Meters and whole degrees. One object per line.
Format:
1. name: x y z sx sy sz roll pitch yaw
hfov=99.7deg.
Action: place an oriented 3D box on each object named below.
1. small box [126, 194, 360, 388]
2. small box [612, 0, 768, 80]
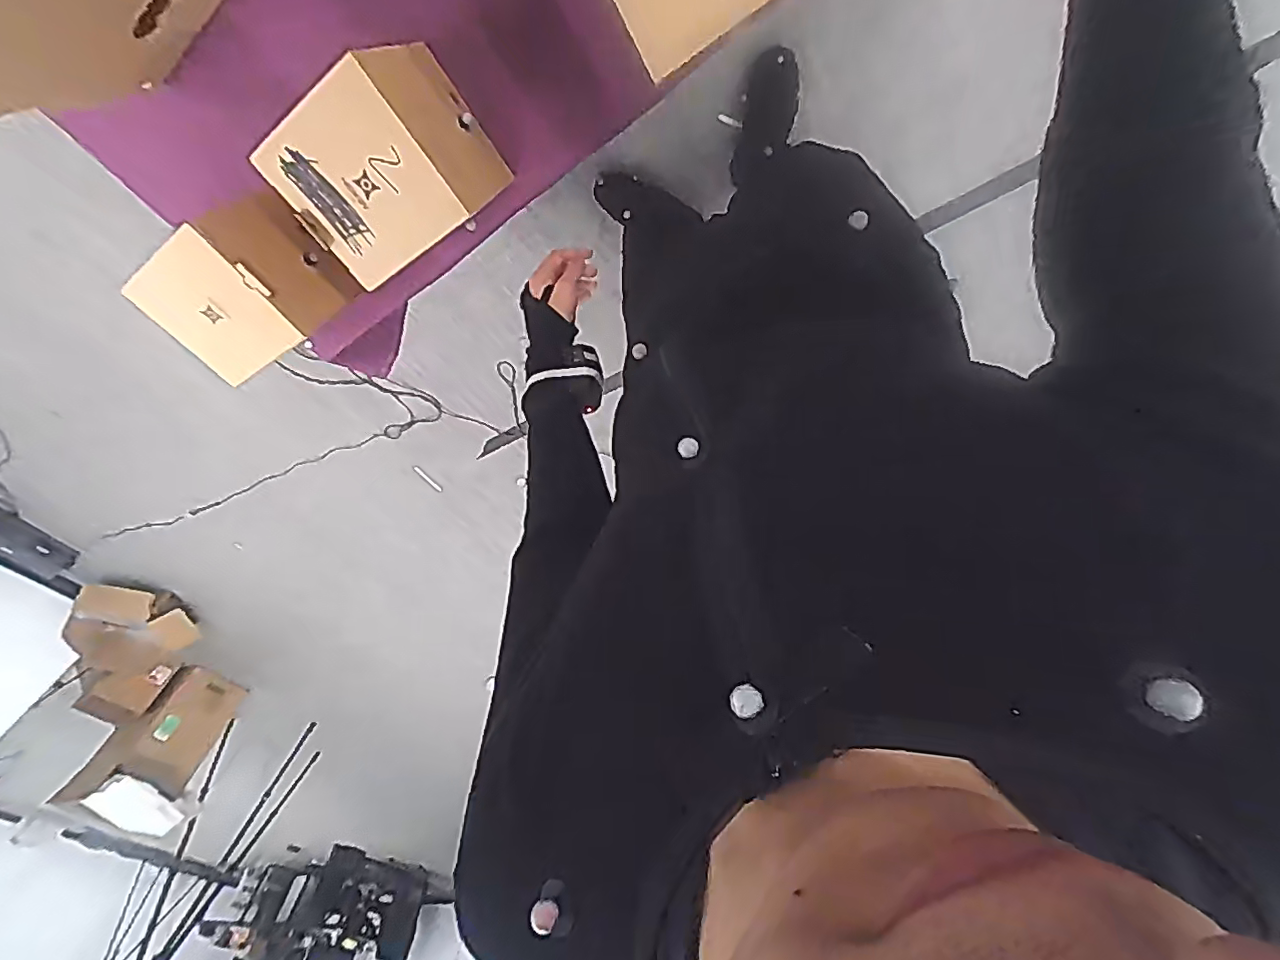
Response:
1. small box: -0.541 -0.266 0.762 0.179 0.176 0.168 -22 125 24
2. small box: 0.045 -0.490 0.462 0.168 0.176 0.179 -21 126 26
